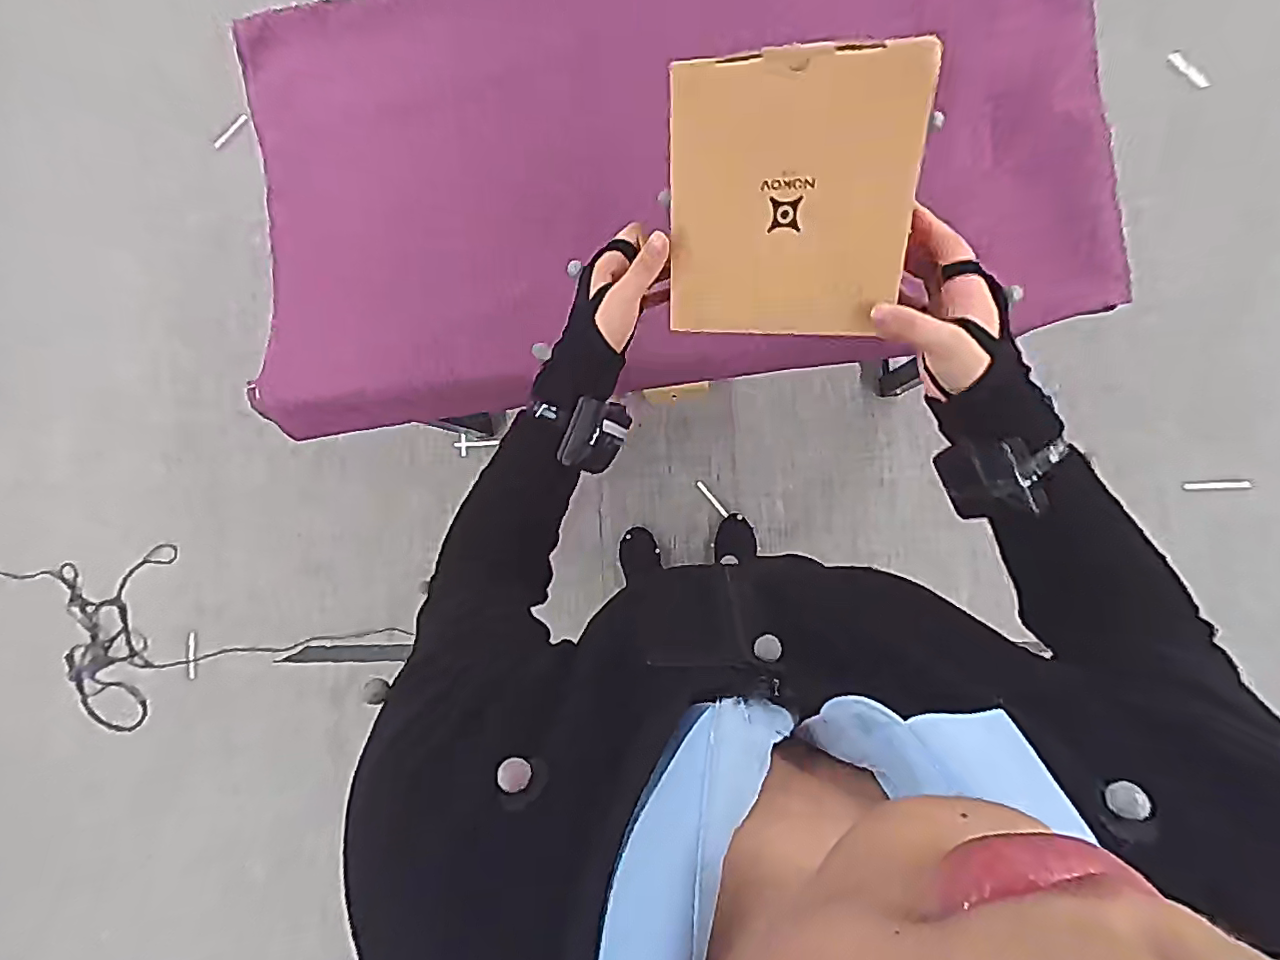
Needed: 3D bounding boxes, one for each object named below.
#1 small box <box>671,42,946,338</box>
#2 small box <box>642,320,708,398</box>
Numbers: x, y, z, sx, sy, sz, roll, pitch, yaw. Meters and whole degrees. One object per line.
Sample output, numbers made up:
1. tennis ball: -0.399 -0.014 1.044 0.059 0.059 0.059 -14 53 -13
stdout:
1. small box: 0.123 -0.225 0.443 0.168 0.176 0.179 5 117 12
2. small box: 0.096 -0.316 1.438 0.168 0.176 0.179 -2 88 5
